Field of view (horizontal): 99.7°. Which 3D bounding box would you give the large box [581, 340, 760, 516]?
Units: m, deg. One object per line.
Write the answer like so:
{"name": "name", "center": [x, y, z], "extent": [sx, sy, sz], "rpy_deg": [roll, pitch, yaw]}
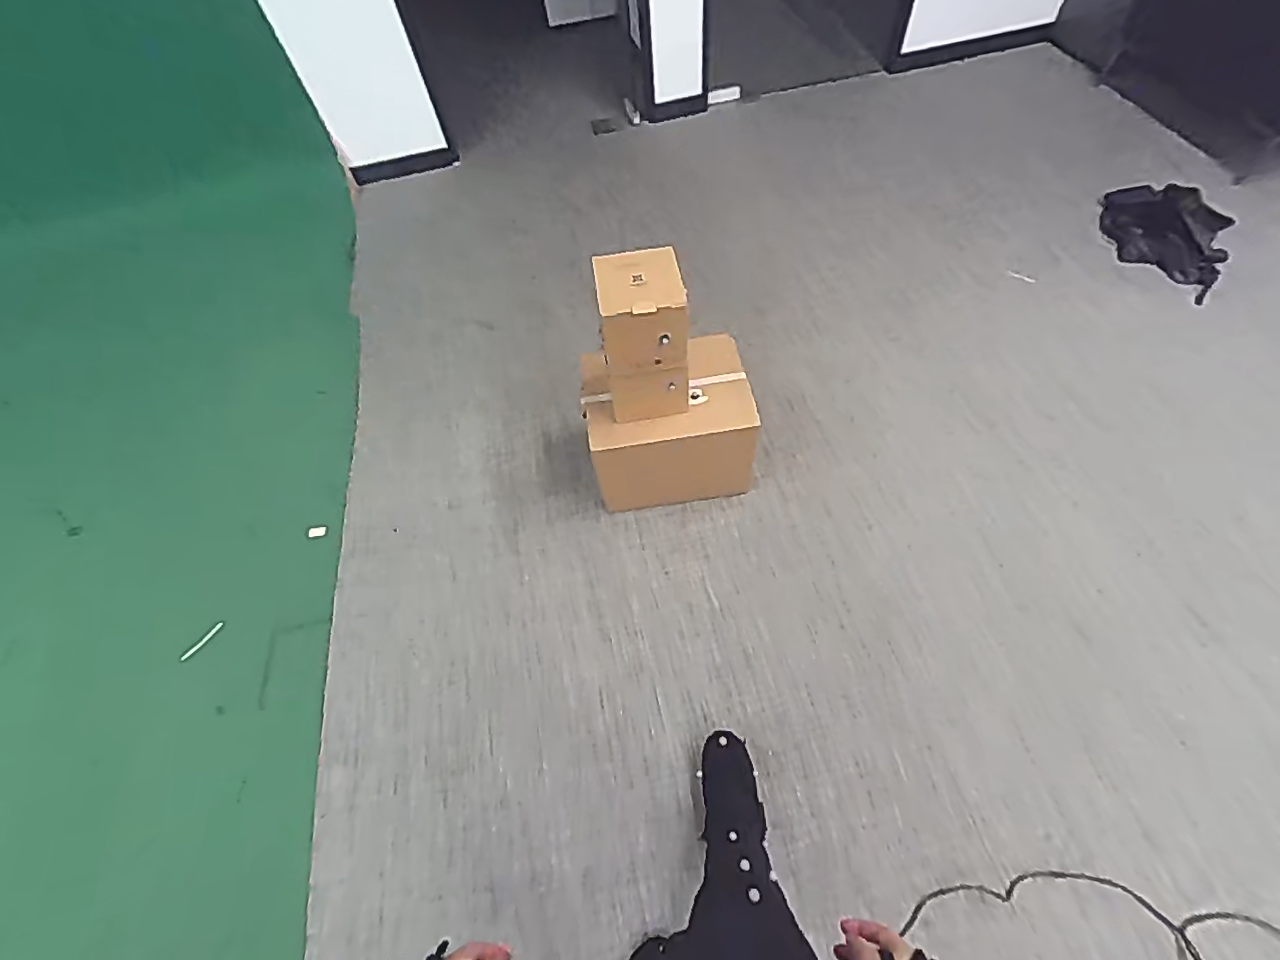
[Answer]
{"name": "large box", "center": [0.072, -0.131, 1.453], "extent": [0.408, 0.320, 0.320], "rpy_deg": [-9, 59, -1]}

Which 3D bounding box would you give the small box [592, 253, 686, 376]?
{"name": "small box", "center": [-0.001, -0.329, 1.101], "extent": [0.168, 0.176, 0.179], "rpy_deg": [-8, 57, -2]}
